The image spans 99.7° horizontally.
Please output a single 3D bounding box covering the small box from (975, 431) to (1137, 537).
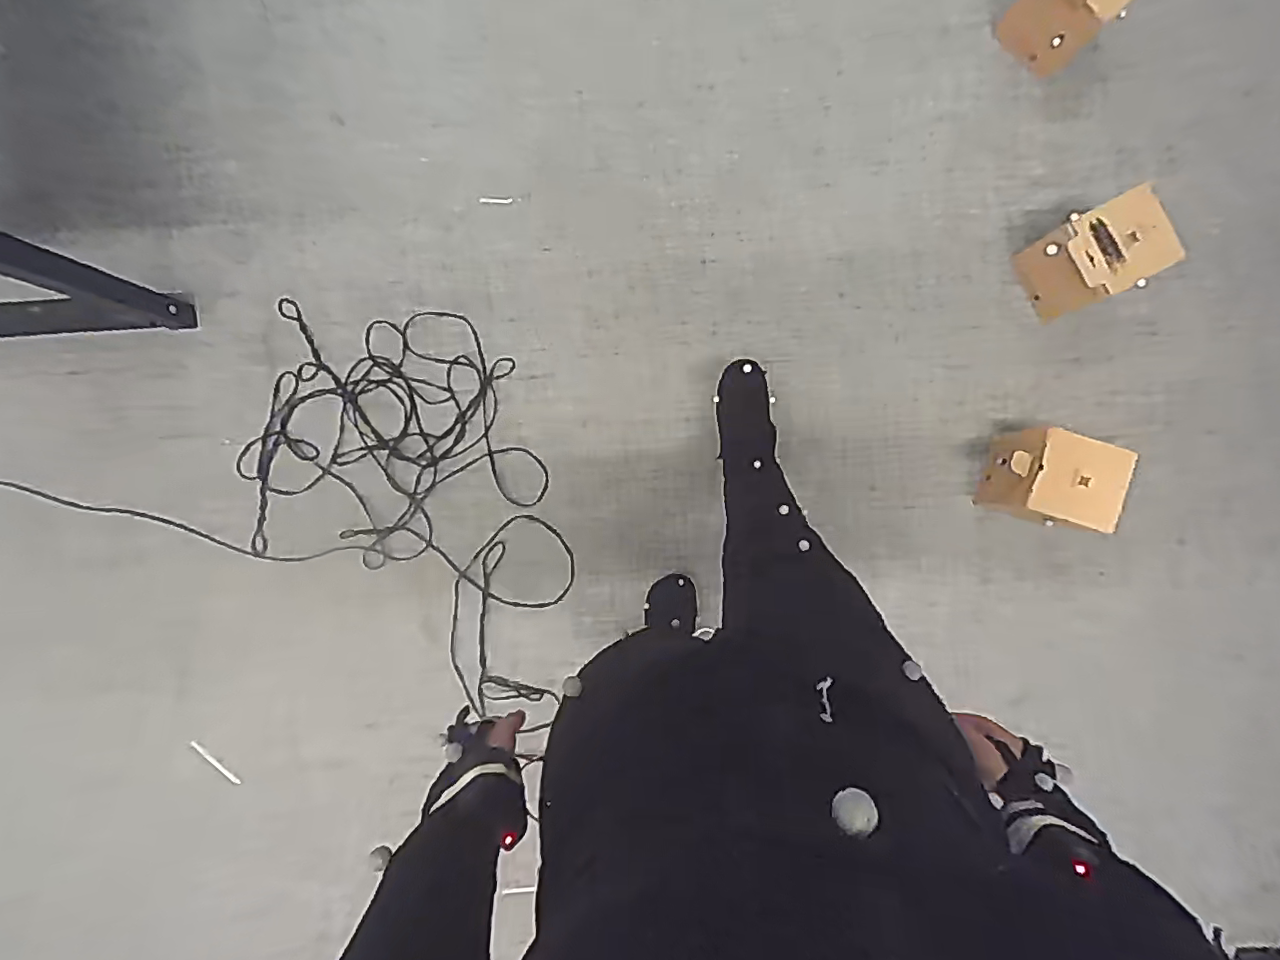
[{"bbox_3d":[0.840,0.006,1.108,0.179,0.176,0.168,18,90,1],"label":"small box"}]

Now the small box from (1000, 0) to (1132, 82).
[{"bbox_3d":[0.891,-0.982,1.111,0.168,0.176,0.179,44,89,-1],"label":"small box"}]
